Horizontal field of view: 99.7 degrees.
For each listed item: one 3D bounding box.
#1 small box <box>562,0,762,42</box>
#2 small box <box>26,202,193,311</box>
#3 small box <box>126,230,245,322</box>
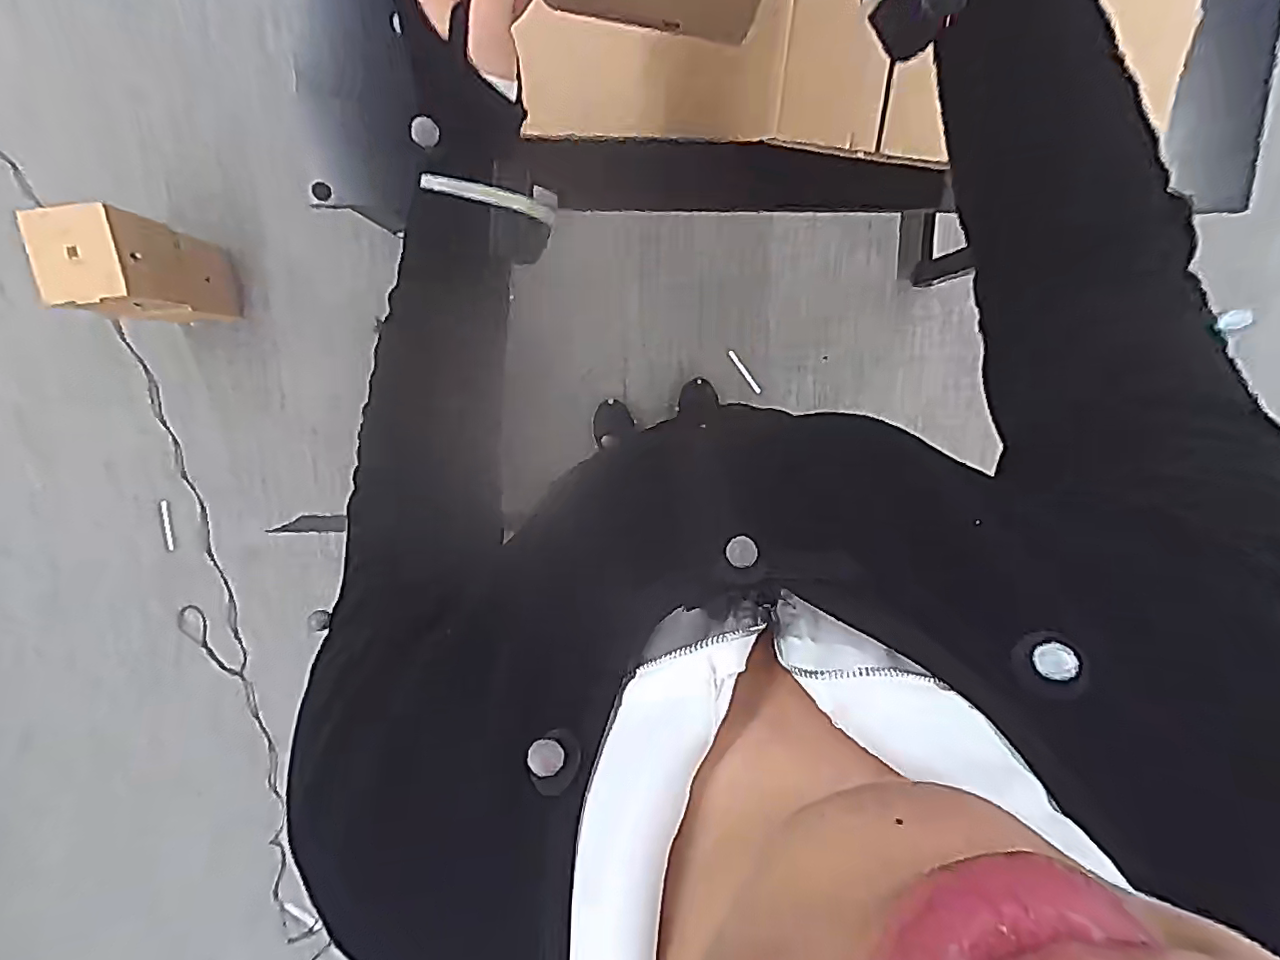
[{"bbox_3d":[0.017,-0.413,0.328,0.168,0.176,0.179,10,113,0],"label":"small box"},{"bbox_3d":[-1.092,-0.456,1.133,0.168,0.176,0.179,-7,100,-1],"label":"small box"},{"bbox_3d":[-1.094,-0.481,1.293,0.168,0.176,0.179,-4,102,-1],"label":"small box"}]
